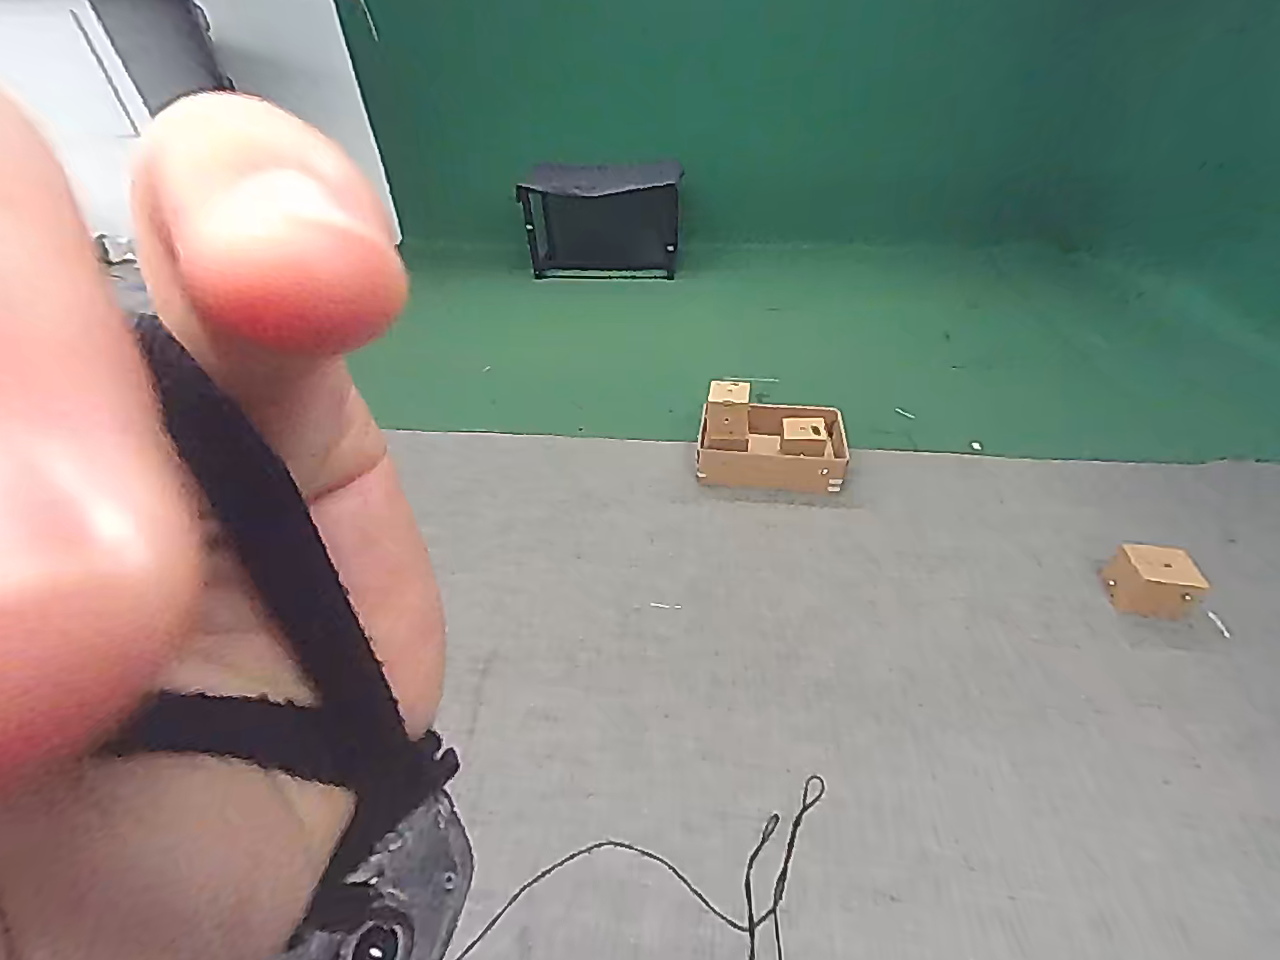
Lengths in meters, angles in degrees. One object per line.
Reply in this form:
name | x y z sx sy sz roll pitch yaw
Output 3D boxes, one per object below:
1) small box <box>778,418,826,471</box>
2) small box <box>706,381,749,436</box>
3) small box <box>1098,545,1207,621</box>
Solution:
small box | 0.700 -0.153 2.347 0.179 0.176 0.168 3 40 9
small box | 0.372 -0.301 2.293 0.168 0.176 0.179 5 41 11
small box | 1.654 0.338 1.758 0.179 0.176 0.168 7 39 12
